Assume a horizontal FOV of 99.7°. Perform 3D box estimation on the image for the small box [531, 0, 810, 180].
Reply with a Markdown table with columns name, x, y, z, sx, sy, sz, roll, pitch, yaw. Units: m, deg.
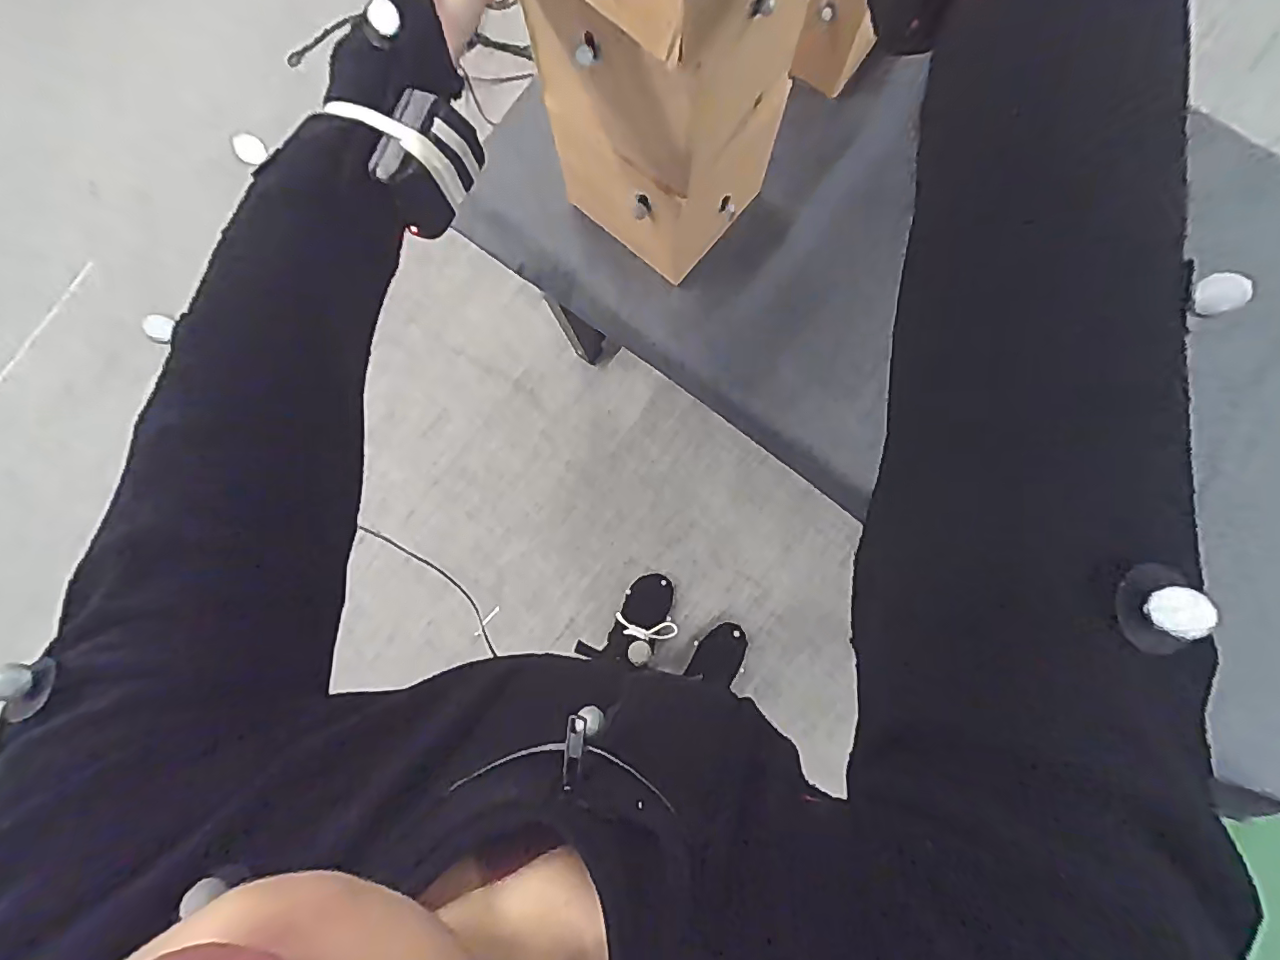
| name | x | y | z | sx | sy | sz | roll | pitch | yaw |
| --- | --- | --- | --- | --- | --- | --- | --- | --- | --- |
| small box | 0.024 | -0.386 | 0.430 | 0.179 | 0.176 | 0.168 | 36 | 87 | 5 |

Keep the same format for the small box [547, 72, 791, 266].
| name | x | y | z | sx | sy | sz | roll | pitch | yaw |
| --- | --- | --- | --- | --- | --- | --- | --- | --- | --- |
| small box | 0.030 | -0.367 | 0.592 | 0.179 | 0.176 | 0.168 | 40 | 87 | 5 |

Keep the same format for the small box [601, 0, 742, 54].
| name | x | y | z | sx | sy | sz | roll | pitch | yaw |
| --- | --- | --- | --- | --- | --- | --- | --- | --- | --- |
| small box | 0.022 | -0.380 | 0.265 | 0.168 | 0.176 | 0.179 | 41 | 88 | 5 |
